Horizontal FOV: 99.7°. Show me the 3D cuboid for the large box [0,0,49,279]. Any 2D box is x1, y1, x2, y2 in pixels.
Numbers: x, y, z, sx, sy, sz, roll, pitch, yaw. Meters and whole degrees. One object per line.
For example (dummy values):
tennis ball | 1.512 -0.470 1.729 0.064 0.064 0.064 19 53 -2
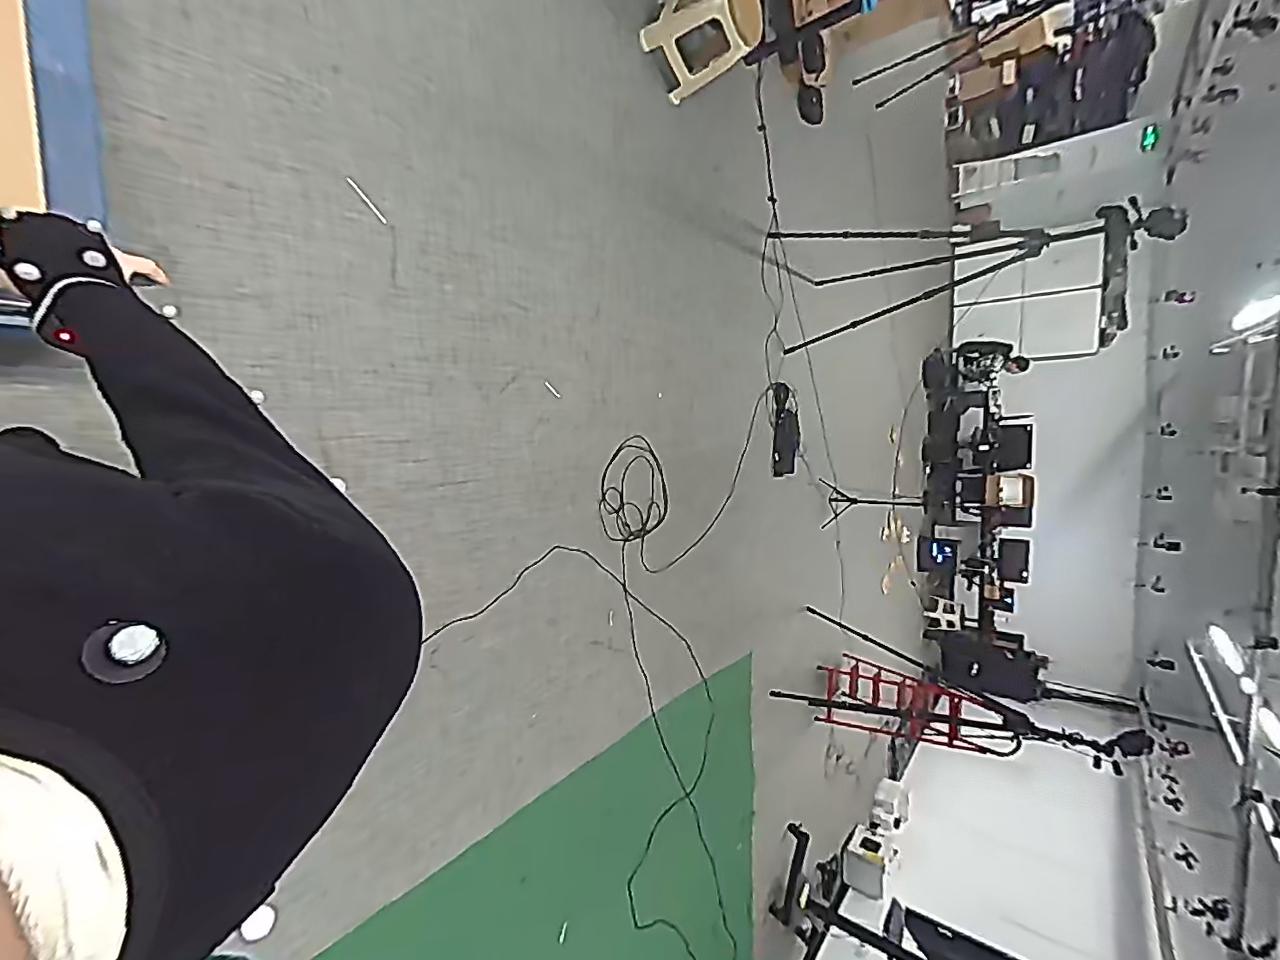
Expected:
large box | -1.105 -0.543 0.766 0.320 0.320 0.408 -9 97 -51
